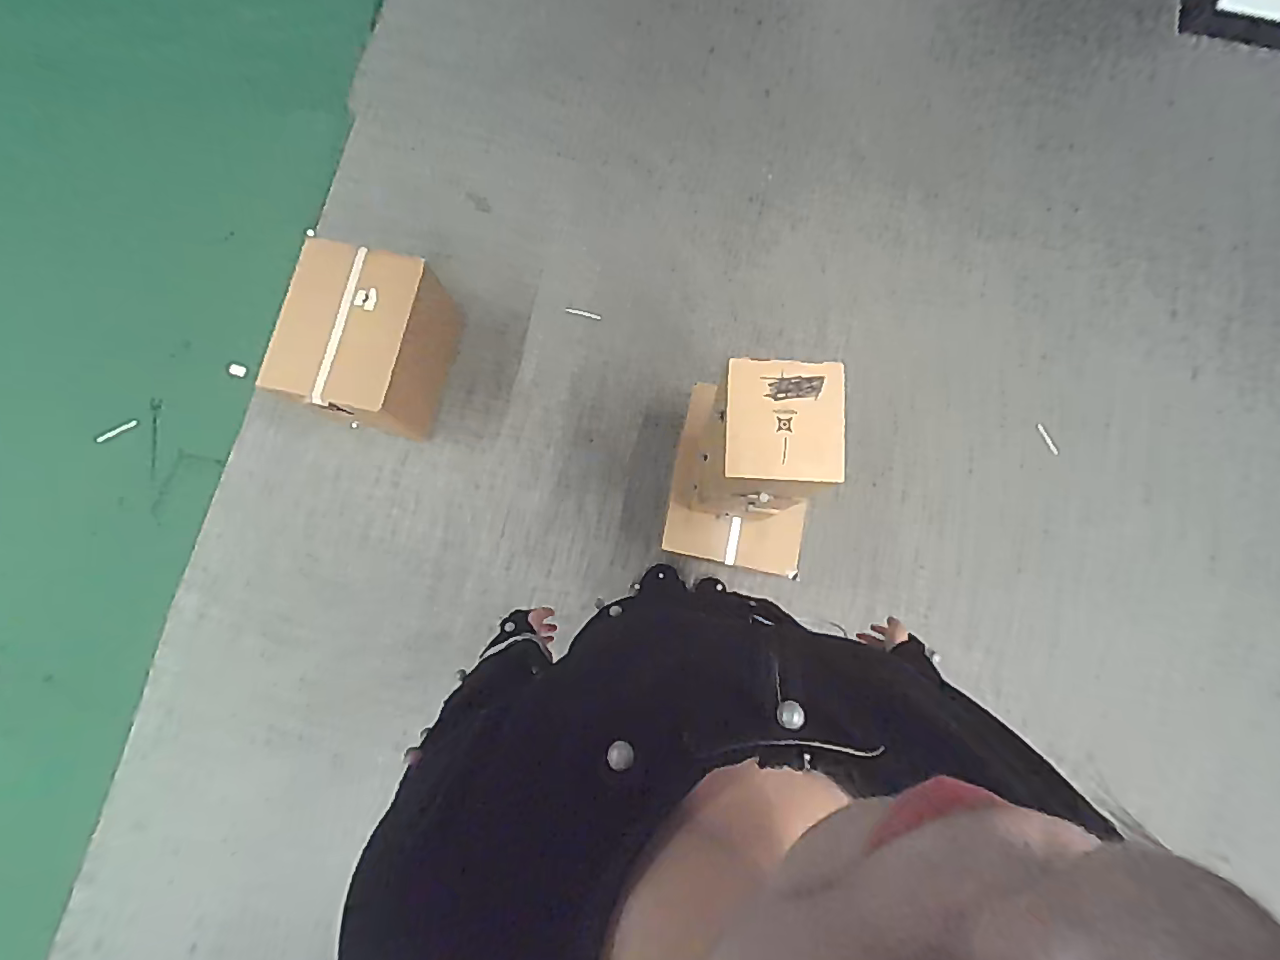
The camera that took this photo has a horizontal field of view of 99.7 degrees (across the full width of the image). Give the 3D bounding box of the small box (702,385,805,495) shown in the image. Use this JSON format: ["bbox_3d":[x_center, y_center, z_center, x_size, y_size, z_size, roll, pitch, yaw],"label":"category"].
[{"bbox_3d":[0.205,-0.066,0.995,0.168,0.176,0.179,2,83,2],"label":"small box"}]

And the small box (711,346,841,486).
[{"bbox_3d":[0.199,-0.090,0.831,0.168,0.176,0.179,1,83,3],"label":"small box"}]

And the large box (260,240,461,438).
[{"bbox_3d":[-0.722,-0.358,1.458,0.320,0.320,0.408,11,81,3],"label":"large box"}]
